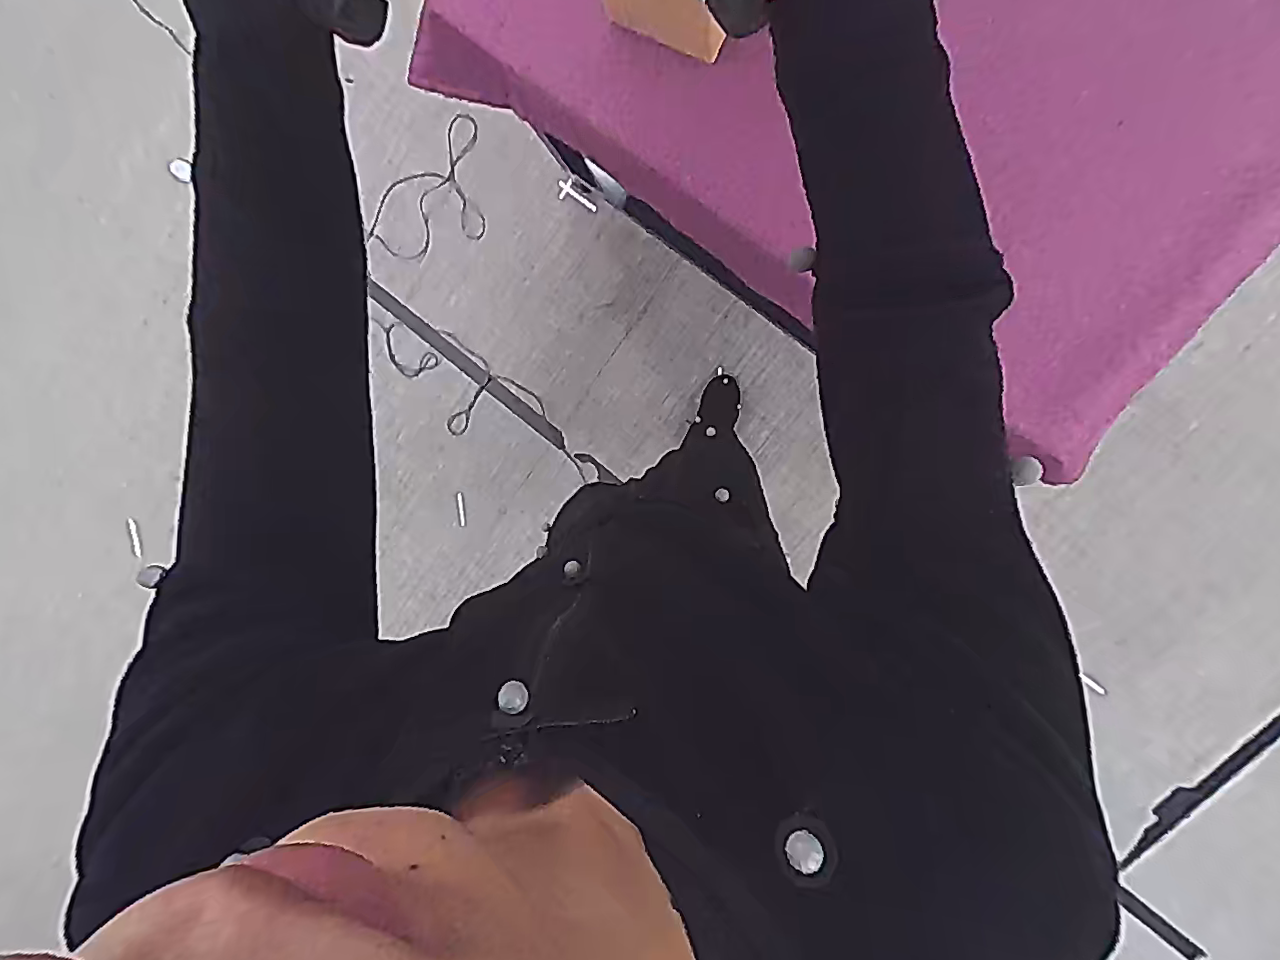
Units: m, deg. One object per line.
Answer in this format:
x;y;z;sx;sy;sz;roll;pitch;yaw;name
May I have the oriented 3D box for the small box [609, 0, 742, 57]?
0.053;-0.709;0.707;0.179;0.176;0.168;28;102;4;small box
